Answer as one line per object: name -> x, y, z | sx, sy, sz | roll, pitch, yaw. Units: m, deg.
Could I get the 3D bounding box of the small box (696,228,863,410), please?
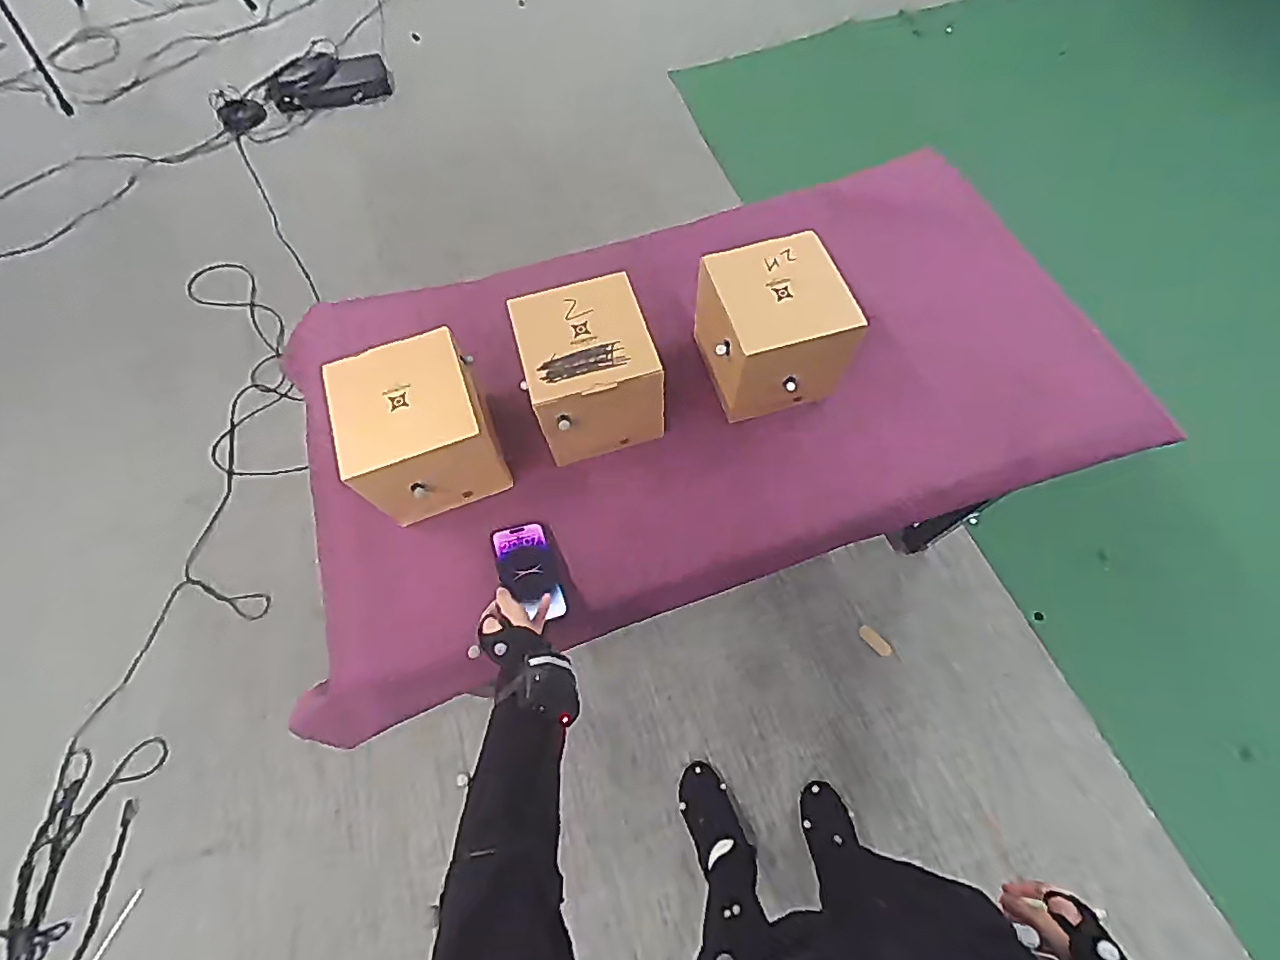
small box -> 0.185, -0.218, 0.775 | 0.168, 0.176, 0.179 | -15, 65, -5

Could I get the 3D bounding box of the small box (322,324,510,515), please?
small box -> -0.291, -0.069, 0.728 | 0.168, 0.176, 0.179 | -21, 66, -7
